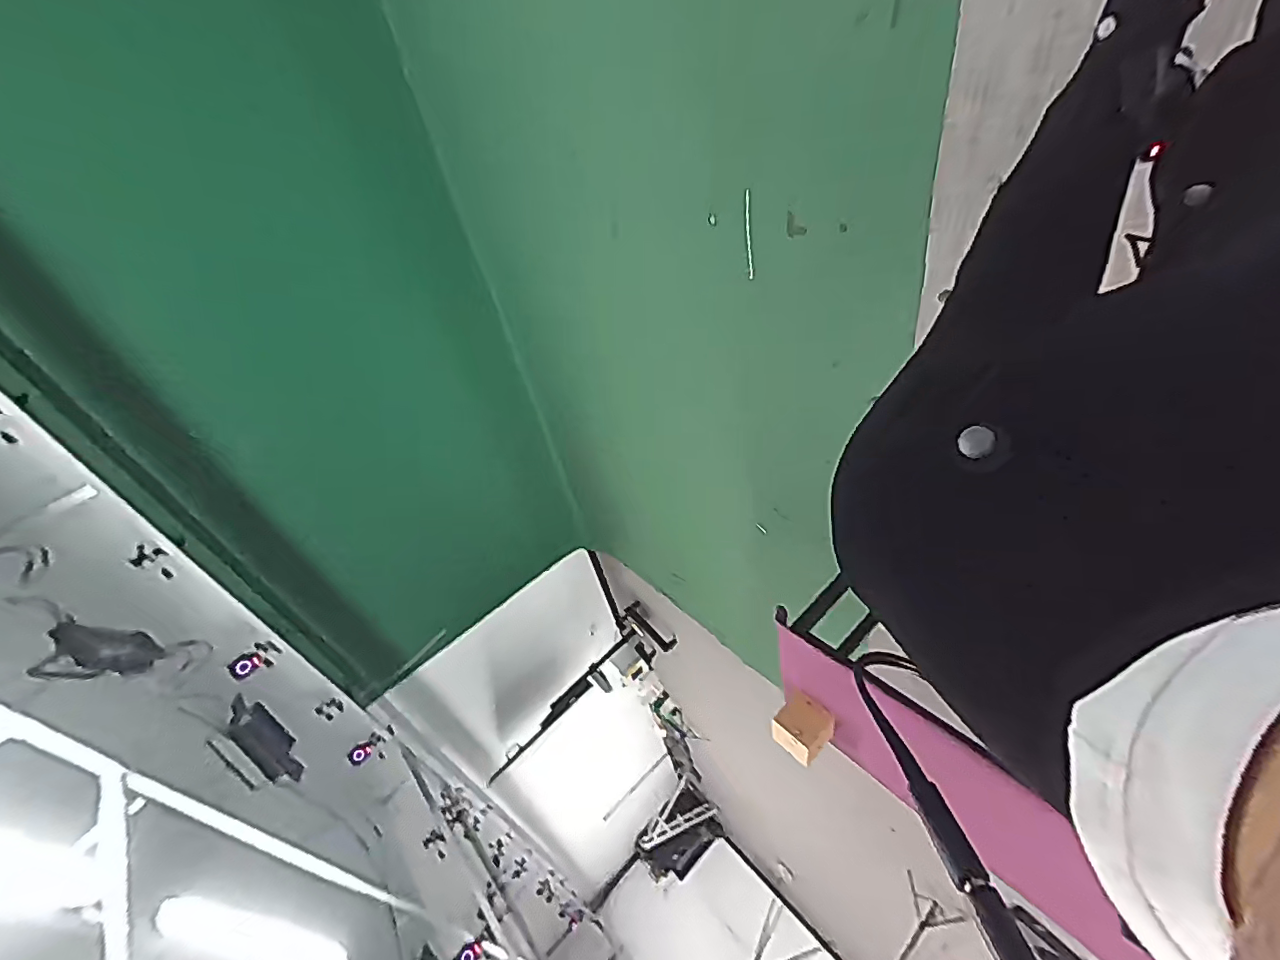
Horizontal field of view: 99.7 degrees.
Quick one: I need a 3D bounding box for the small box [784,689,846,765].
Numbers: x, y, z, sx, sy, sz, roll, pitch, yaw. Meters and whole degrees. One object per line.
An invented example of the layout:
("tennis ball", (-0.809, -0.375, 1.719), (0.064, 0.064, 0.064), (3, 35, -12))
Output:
("small box", (0.675, 0.949, 2.086), (0.168, 0.176, 0.179), (31, 148, 40))
